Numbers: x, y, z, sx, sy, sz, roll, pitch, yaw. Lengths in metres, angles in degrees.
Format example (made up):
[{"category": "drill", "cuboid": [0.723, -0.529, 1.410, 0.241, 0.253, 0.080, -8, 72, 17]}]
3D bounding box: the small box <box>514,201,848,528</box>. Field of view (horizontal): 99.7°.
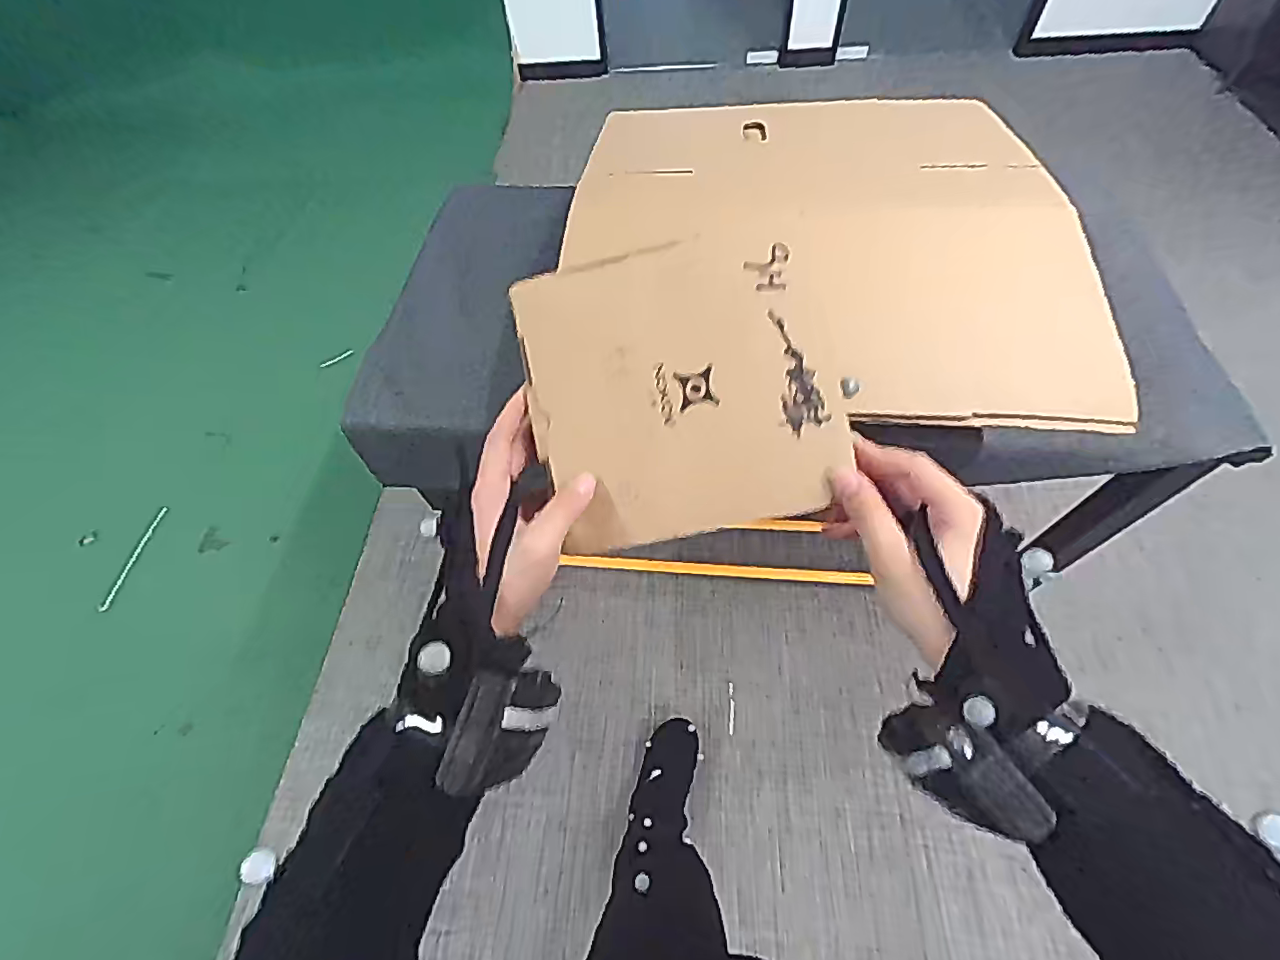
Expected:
[{"category": "small box", "cuboid": [0.032, -0.066, 0.395, 0.179, 0.176, 0.168, -11, 92, 7]}]
